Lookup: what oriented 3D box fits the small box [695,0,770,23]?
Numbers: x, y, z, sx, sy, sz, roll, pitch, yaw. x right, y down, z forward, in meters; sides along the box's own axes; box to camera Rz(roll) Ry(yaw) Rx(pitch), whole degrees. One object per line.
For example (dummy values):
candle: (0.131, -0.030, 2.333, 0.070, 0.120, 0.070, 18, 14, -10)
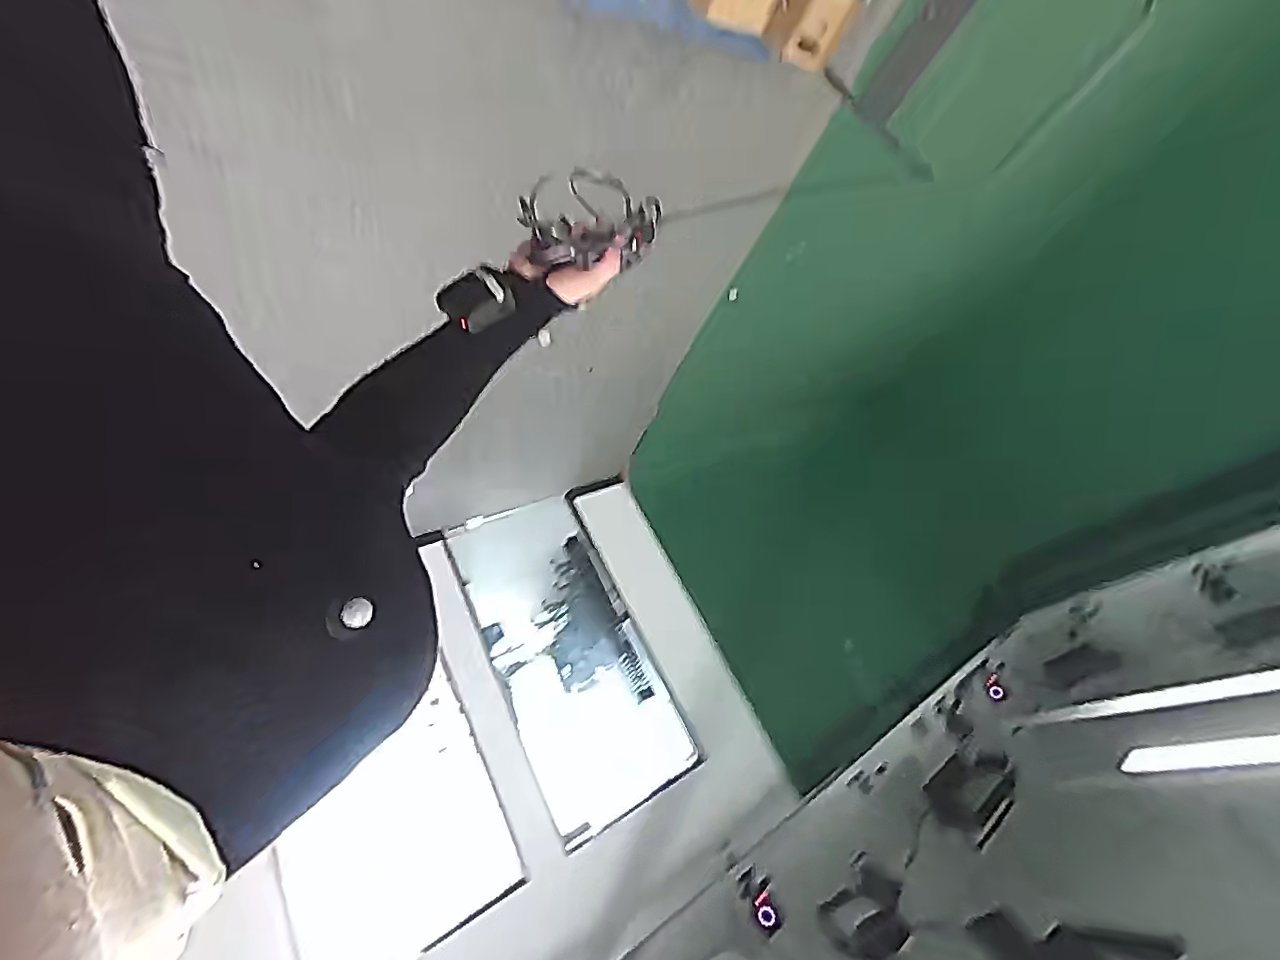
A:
small box: (0.198, -1.143, 1.171, 0.179, 0.176, 0.168, -18, 158, -31)
